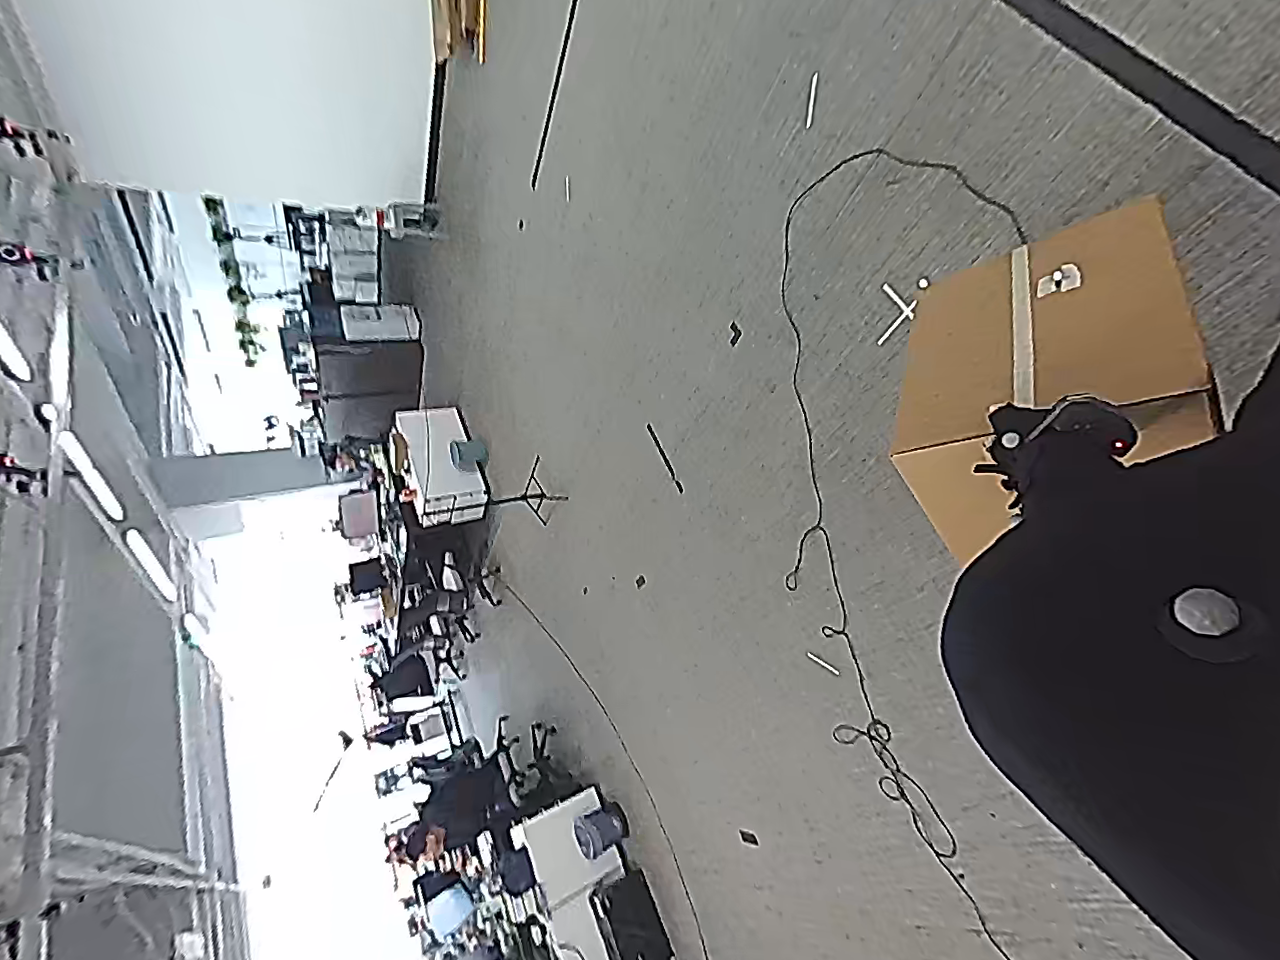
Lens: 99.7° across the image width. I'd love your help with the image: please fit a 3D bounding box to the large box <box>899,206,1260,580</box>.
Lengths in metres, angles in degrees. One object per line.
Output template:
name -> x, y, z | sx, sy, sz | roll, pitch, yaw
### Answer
large box -> 0.622, -0.108, 0.802 | 0.320, 0.408, 0.320 | -14, 128, 45
